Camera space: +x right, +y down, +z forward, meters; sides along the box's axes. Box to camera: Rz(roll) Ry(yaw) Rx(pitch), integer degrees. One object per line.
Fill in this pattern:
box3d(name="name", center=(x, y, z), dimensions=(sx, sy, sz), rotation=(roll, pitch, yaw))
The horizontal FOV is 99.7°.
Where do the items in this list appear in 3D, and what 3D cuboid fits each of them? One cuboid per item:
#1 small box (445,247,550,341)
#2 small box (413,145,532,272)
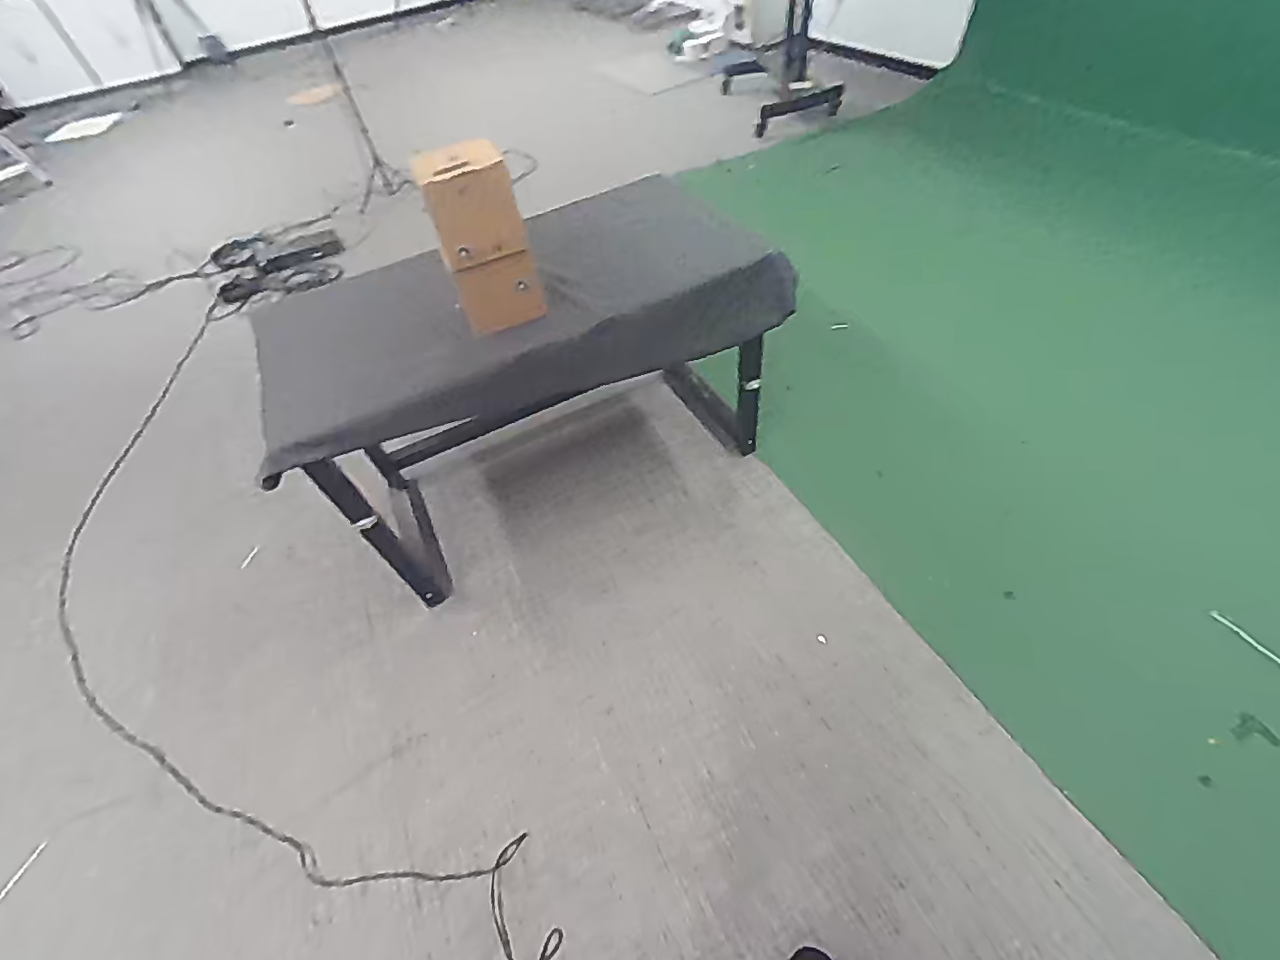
box3d(name="small box", center=(-0.319, -0.450, 1.238), dimensions=(0.179, 0.176, 0.168), rotation=(-24, 49, -9))
box3d(name="small box", center=(-0.338, -0.552, 1.111), dimensions=(0.168, 0.176, 0.179), rotation=(-25, 51, -12))
